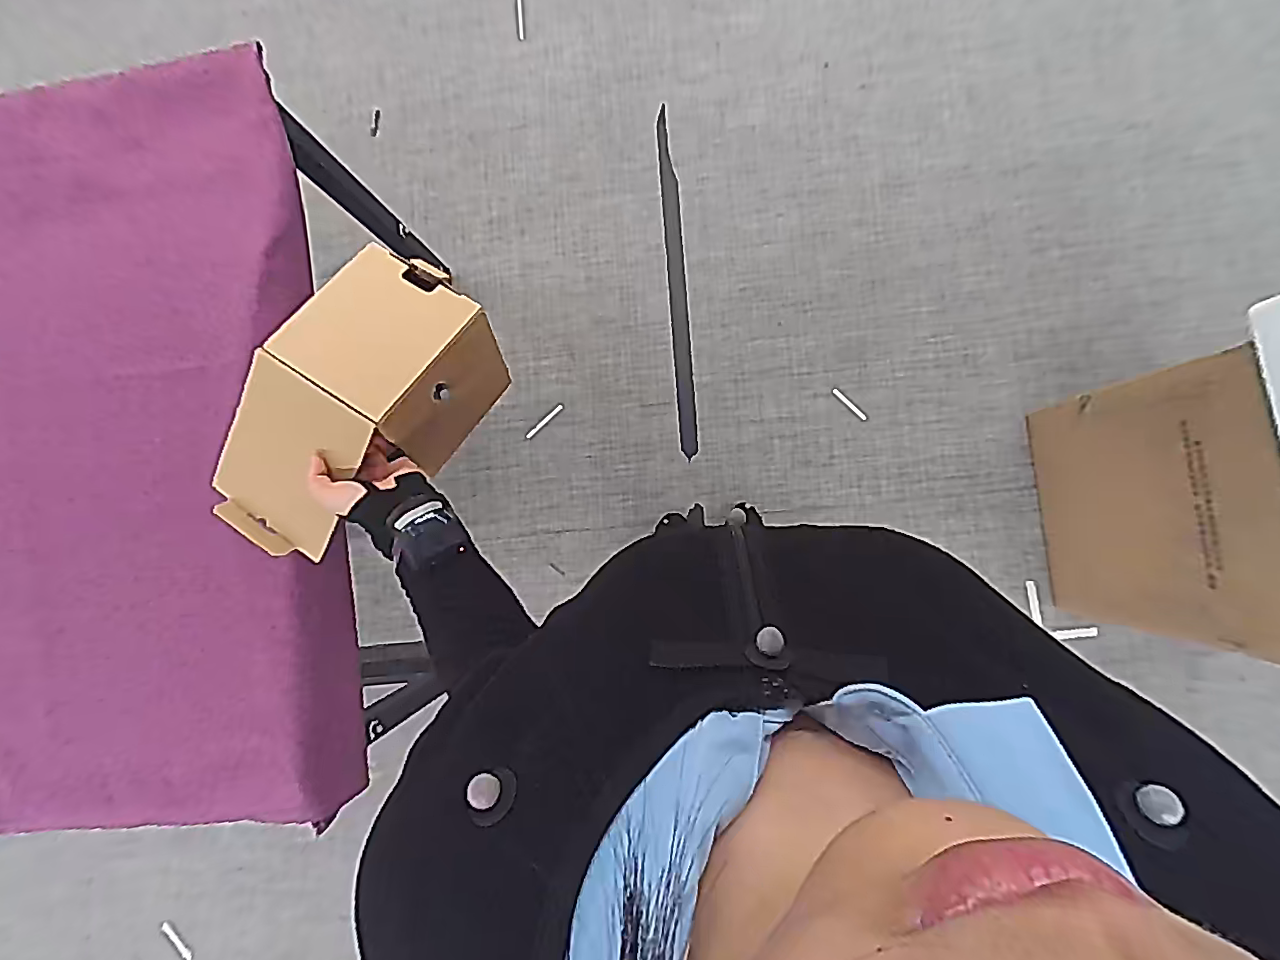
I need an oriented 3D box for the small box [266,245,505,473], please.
[{"bbox_3d":[-0.288,-0.136,0.661,0.168,0.176,0.179,32,72,9],"label":"small box"}]
